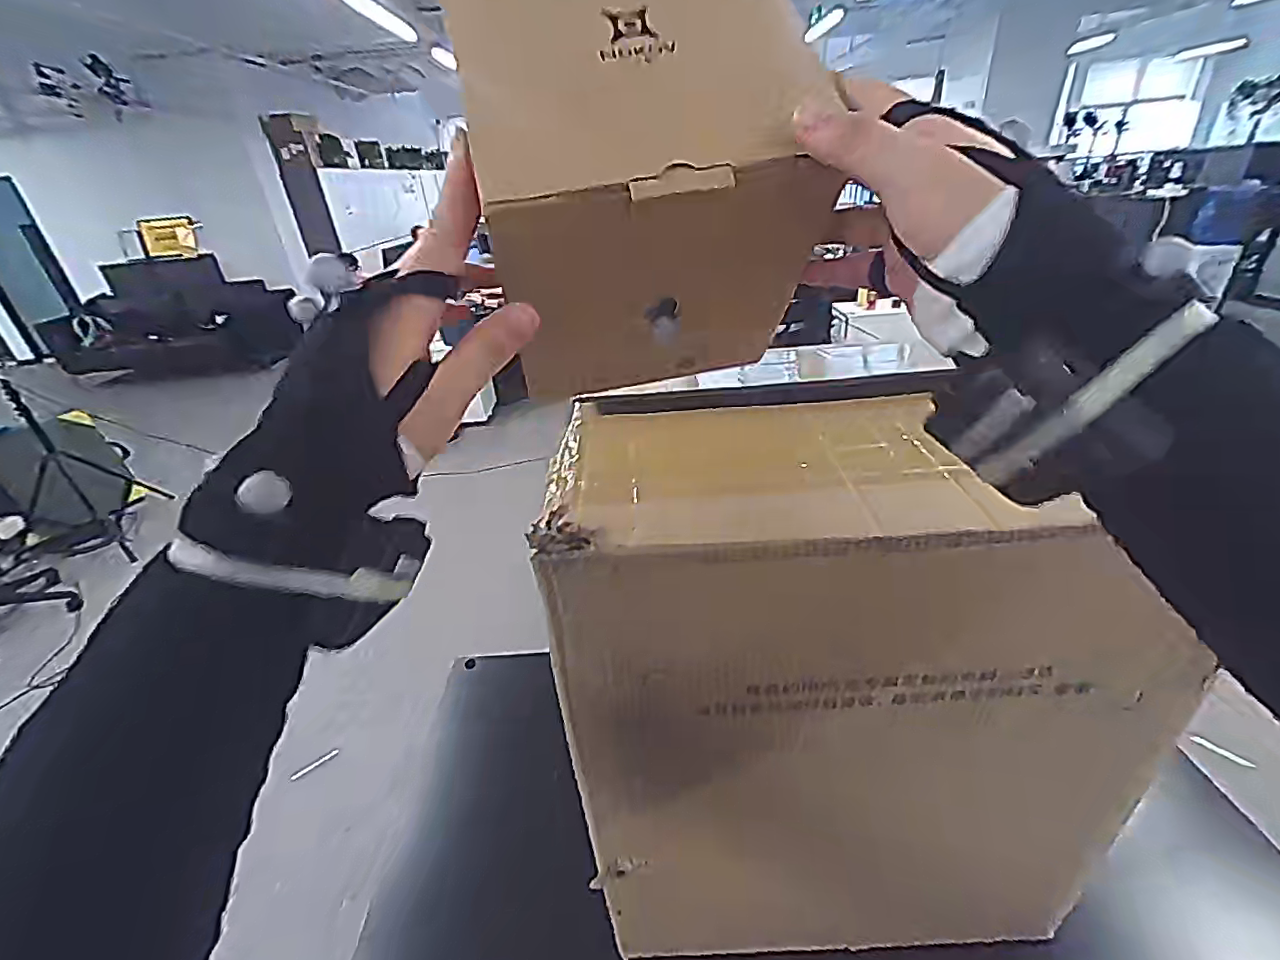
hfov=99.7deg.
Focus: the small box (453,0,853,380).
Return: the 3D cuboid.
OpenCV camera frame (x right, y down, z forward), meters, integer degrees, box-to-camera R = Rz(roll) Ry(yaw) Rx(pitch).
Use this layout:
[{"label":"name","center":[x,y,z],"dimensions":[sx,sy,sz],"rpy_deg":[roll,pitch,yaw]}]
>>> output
[{"label":"small box","center":[-0.005,-0.177,0.331],"dimensions":[0.168,0.176,0.179],"rpy_deg":[-11,69,-7]}]
